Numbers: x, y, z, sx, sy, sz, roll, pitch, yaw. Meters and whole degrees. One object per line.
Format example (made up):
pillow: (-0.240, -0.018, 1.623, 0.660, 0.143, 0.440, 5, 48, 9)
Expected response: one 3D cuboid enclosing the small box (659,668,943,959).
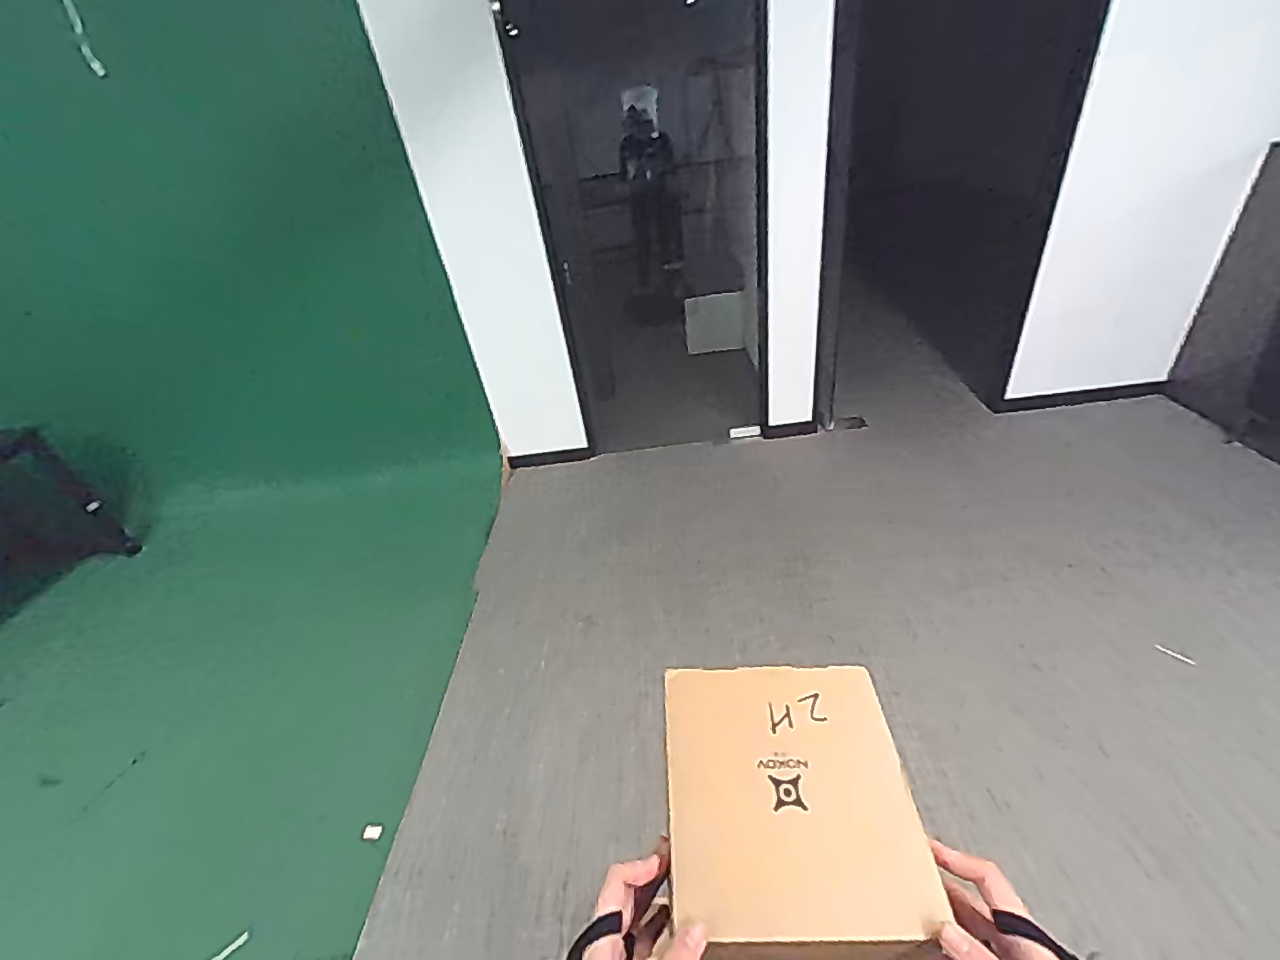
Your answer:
small box: (0.100, 0.272, 0.429, 0.168, 0.176, 0.179, -1, 40, 1)
